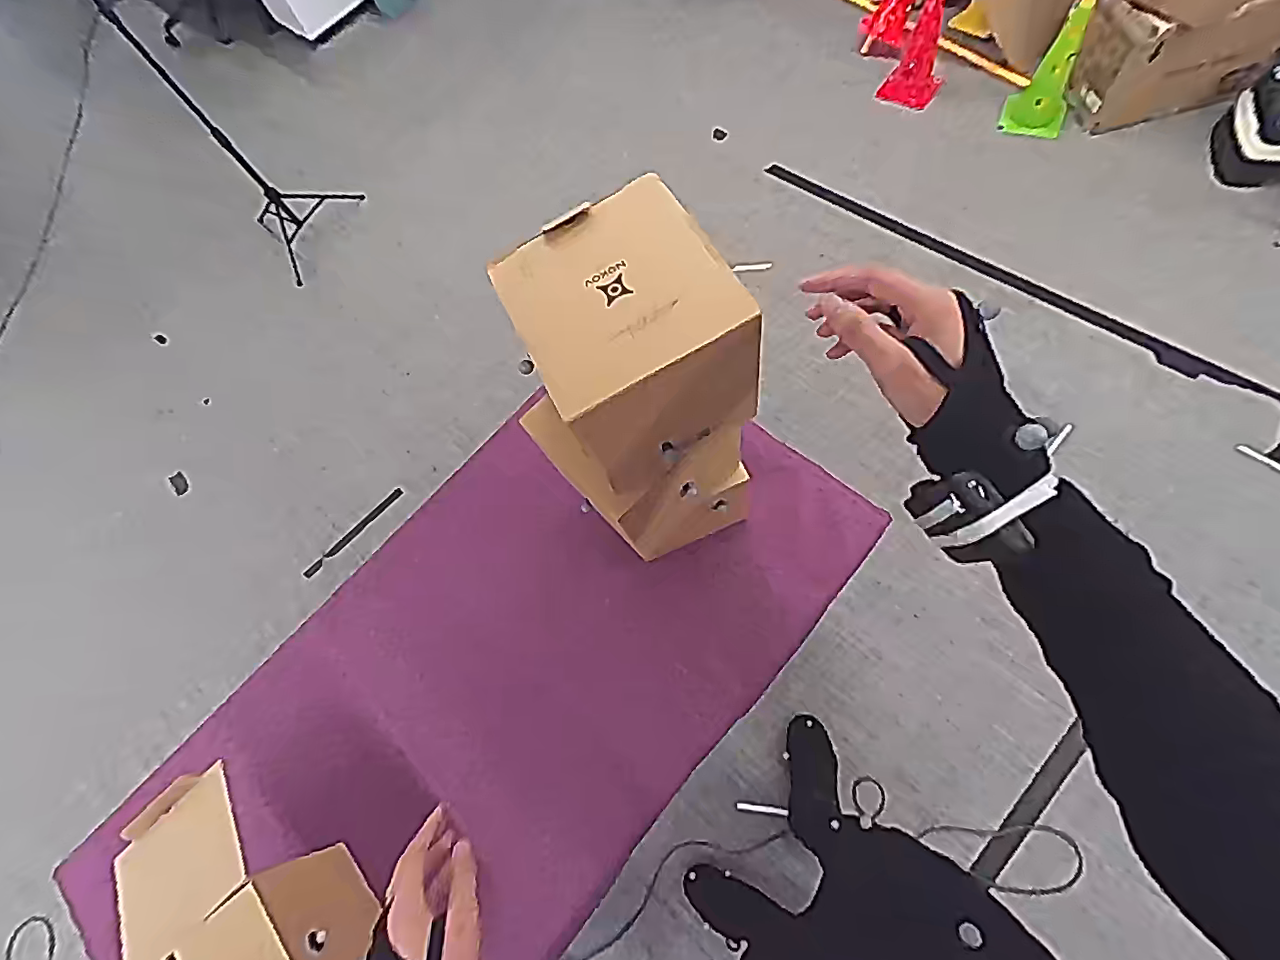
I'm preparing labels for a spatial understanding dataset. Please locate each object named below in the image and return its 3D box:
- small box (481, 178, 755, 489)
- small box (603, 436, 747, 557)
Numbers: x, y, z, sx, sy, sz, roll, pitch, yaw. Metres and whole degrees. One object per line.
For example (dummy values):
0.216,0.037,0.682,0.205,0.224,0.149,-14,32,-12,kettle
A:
-0.011,-0.119,0.492,0.168,0.176,0.179,-29,68,0,small box
0.042,-0.006,0.796,0.179,0.176,0.168,-24,67,1,small box
